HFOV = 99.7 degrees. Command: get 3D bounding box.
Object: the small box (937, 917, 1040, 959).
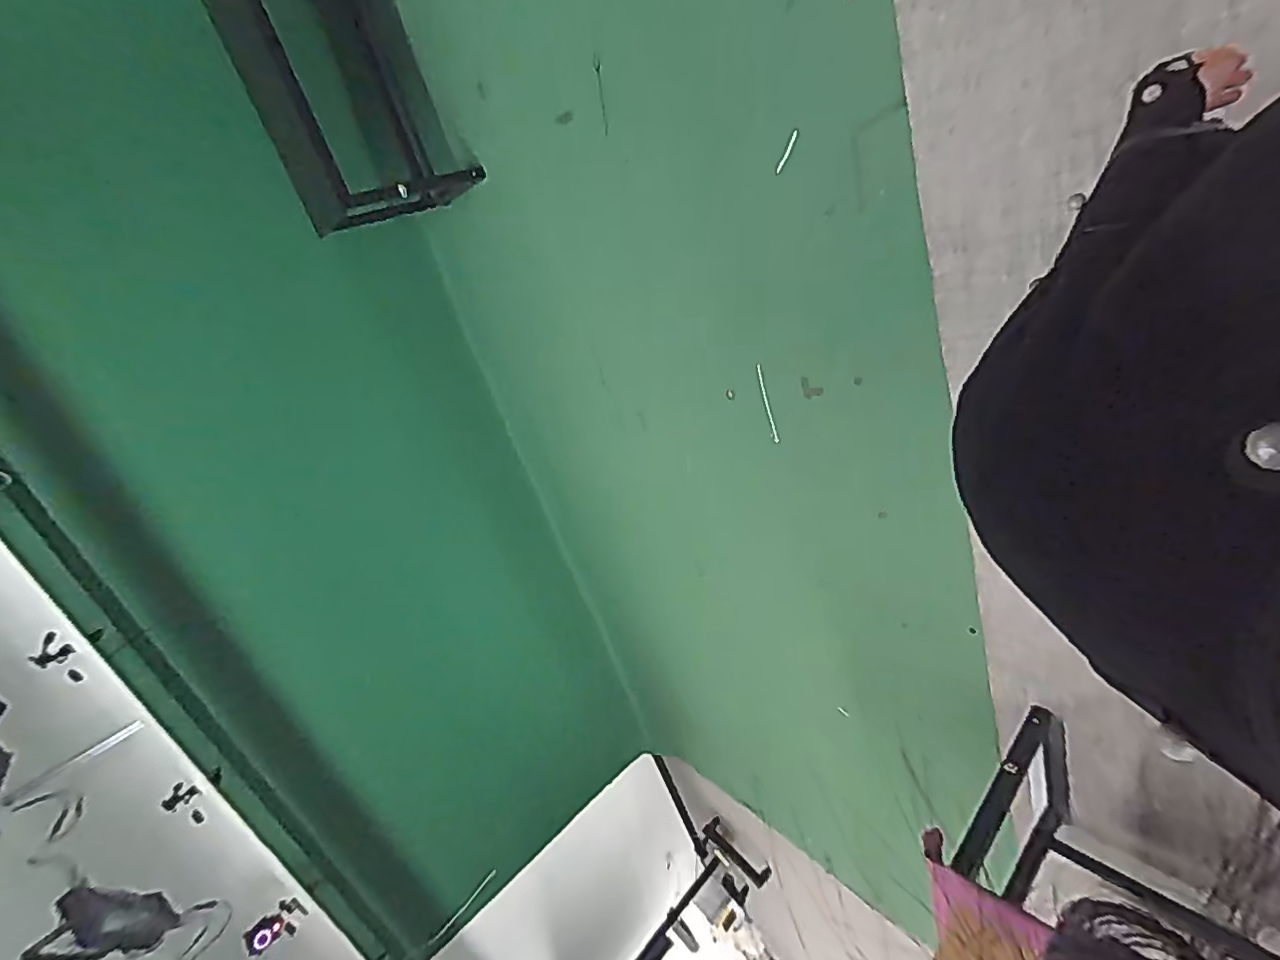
[{"bbox_3d":[0.850,1.212,1.302,0.179,0.176,0.168,4,121,54],"label":"small box"}]
